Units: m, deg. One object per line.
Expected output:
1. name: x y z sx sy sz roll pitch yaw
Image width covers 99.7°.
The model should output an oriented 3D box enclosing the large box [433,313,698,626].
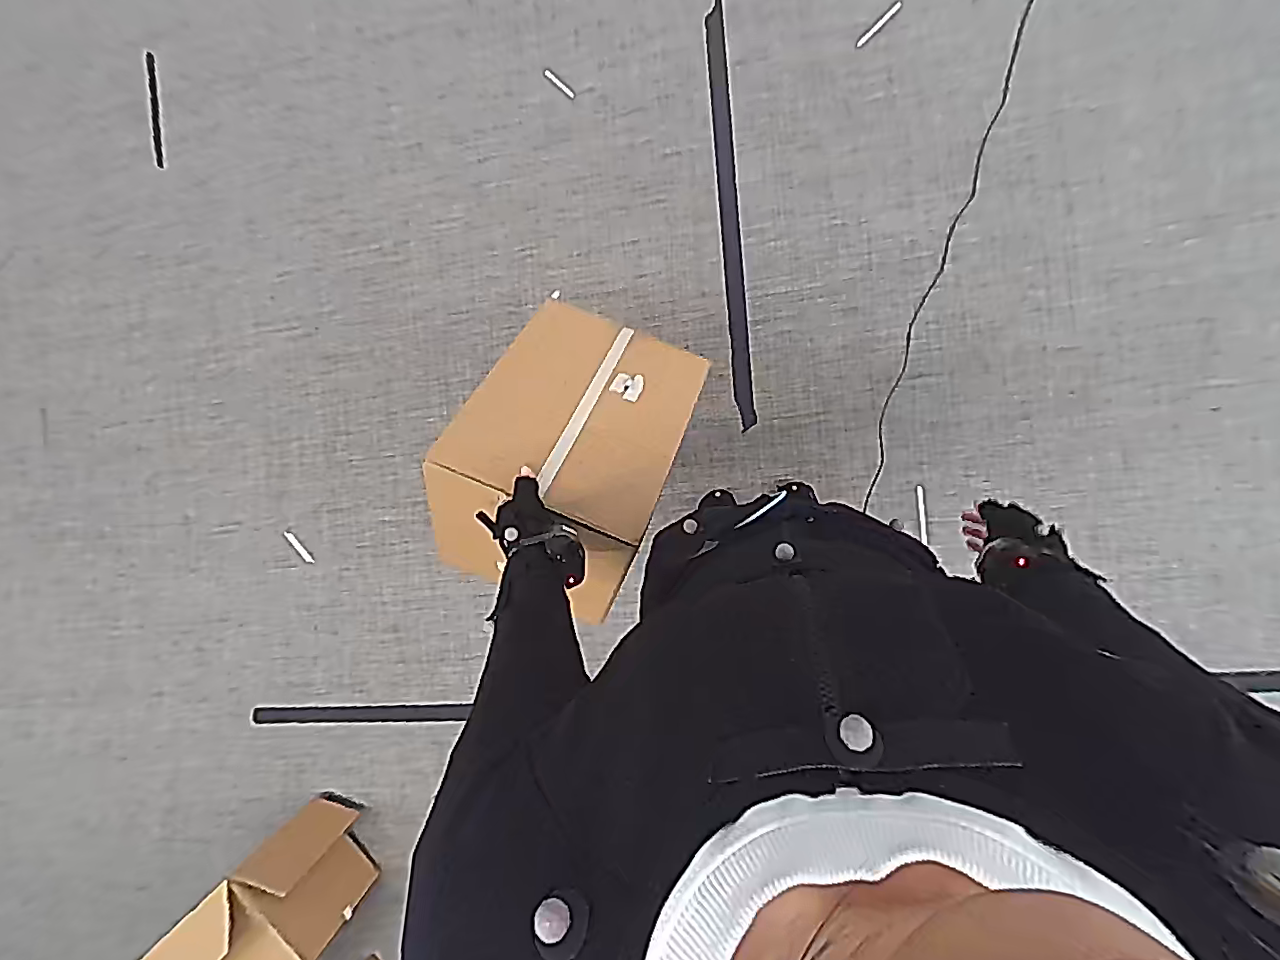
1. large box: -0.121 -0.017 0.965 0.320 0.320 0.408 22 51 0
